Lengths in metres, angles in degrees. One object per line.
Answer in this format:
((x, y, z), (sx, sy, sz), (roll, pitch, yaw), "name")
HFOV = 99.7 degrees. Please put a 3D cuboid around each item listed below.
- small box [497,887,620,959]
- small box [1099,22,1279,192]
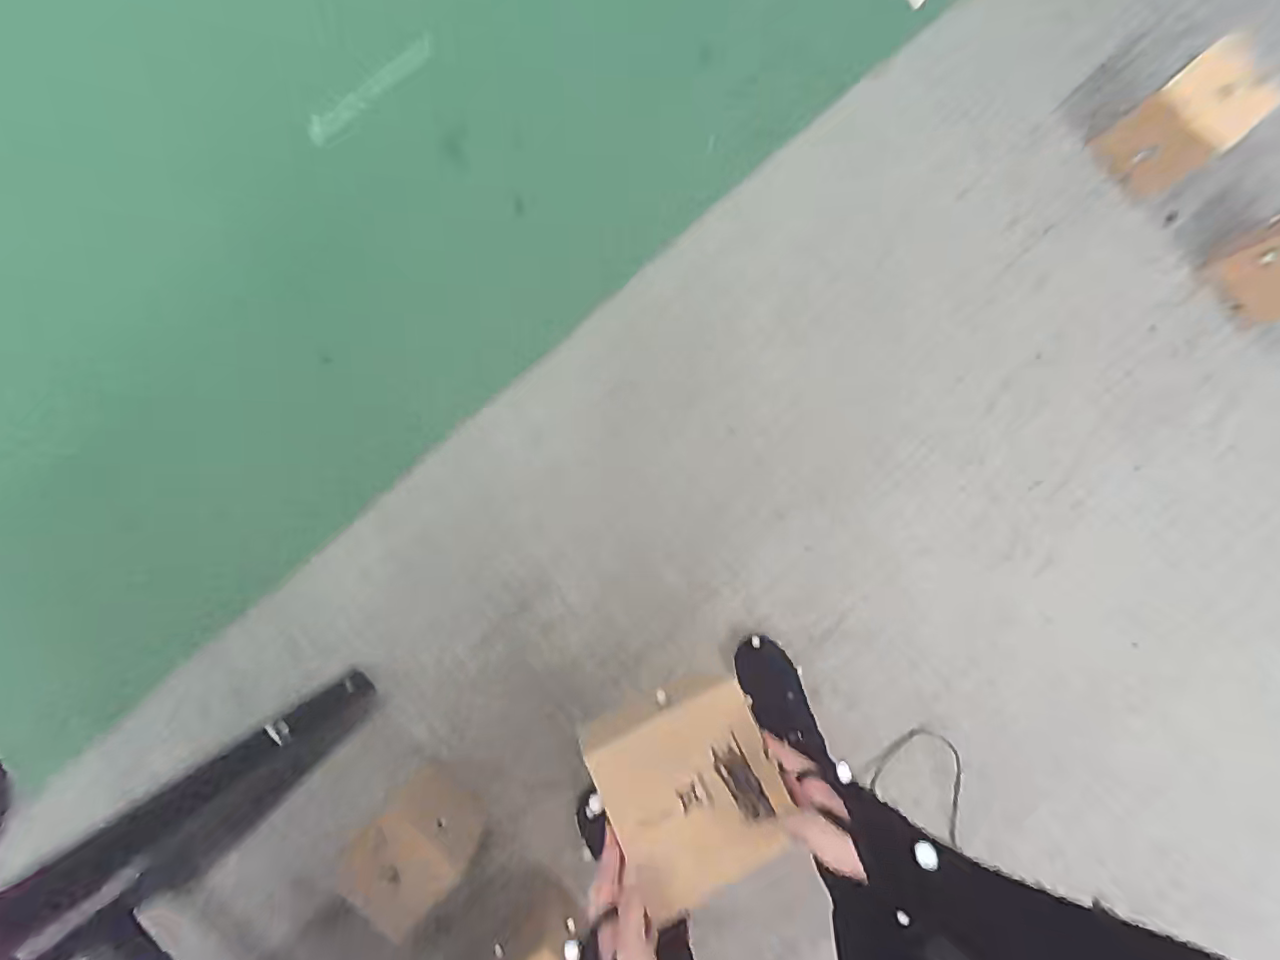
((-0.152, 0.887, 0.973), (0.168, 0.176, 0.179), (-42, 89, -1), "small box")
((1.059, -0.712, 1.054), (0.179, 0.176, 0.168), (-40, 88, -2), "small box")
